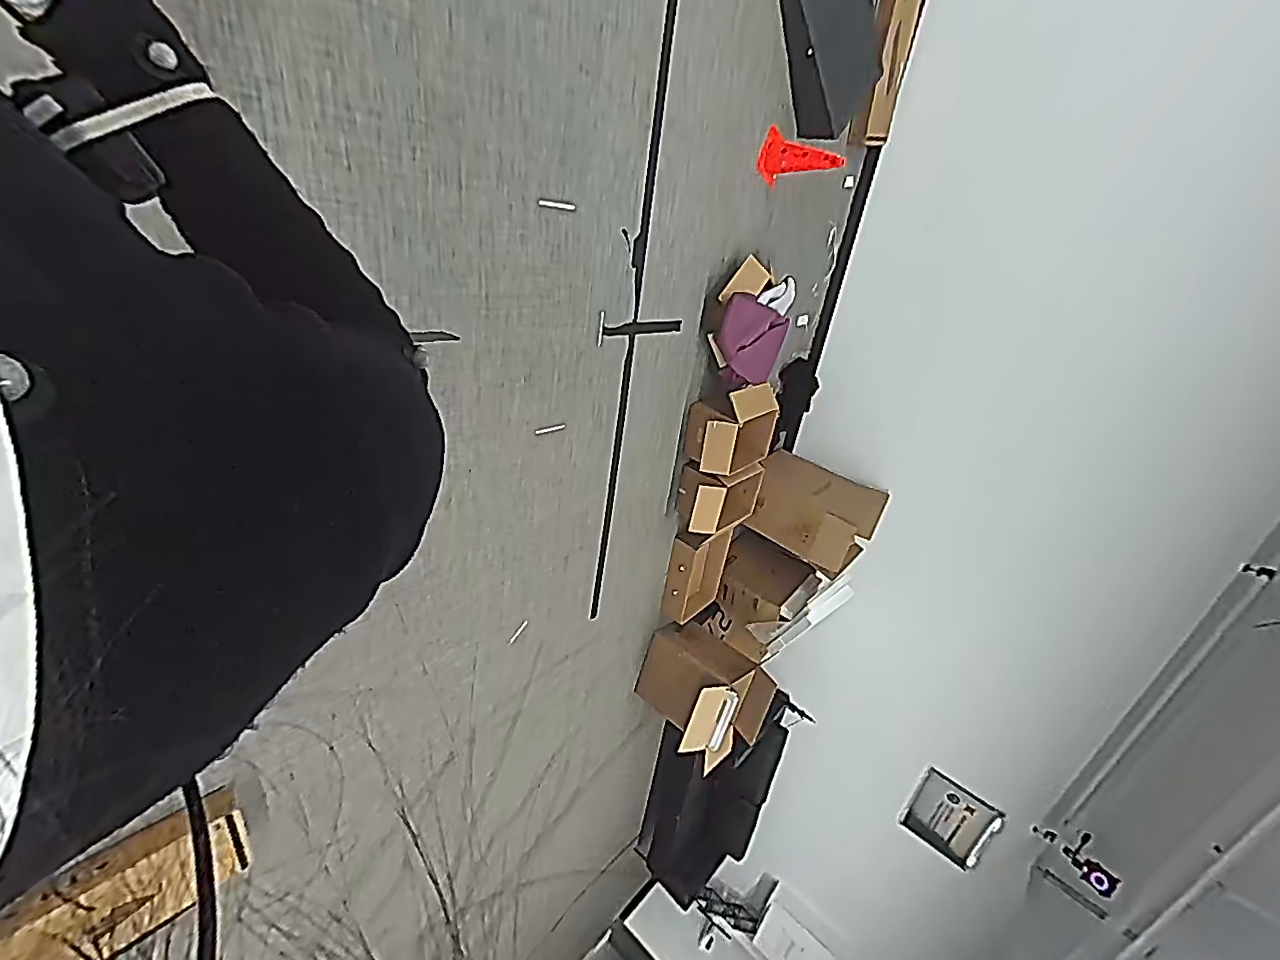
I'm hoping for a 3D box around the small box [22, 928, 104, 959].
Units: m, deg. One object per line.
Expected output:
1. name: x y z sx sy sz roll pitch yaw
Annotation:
1. small box: -1.480 1.293 1.363 0.168 0.176 0.179 -24 131 -44
